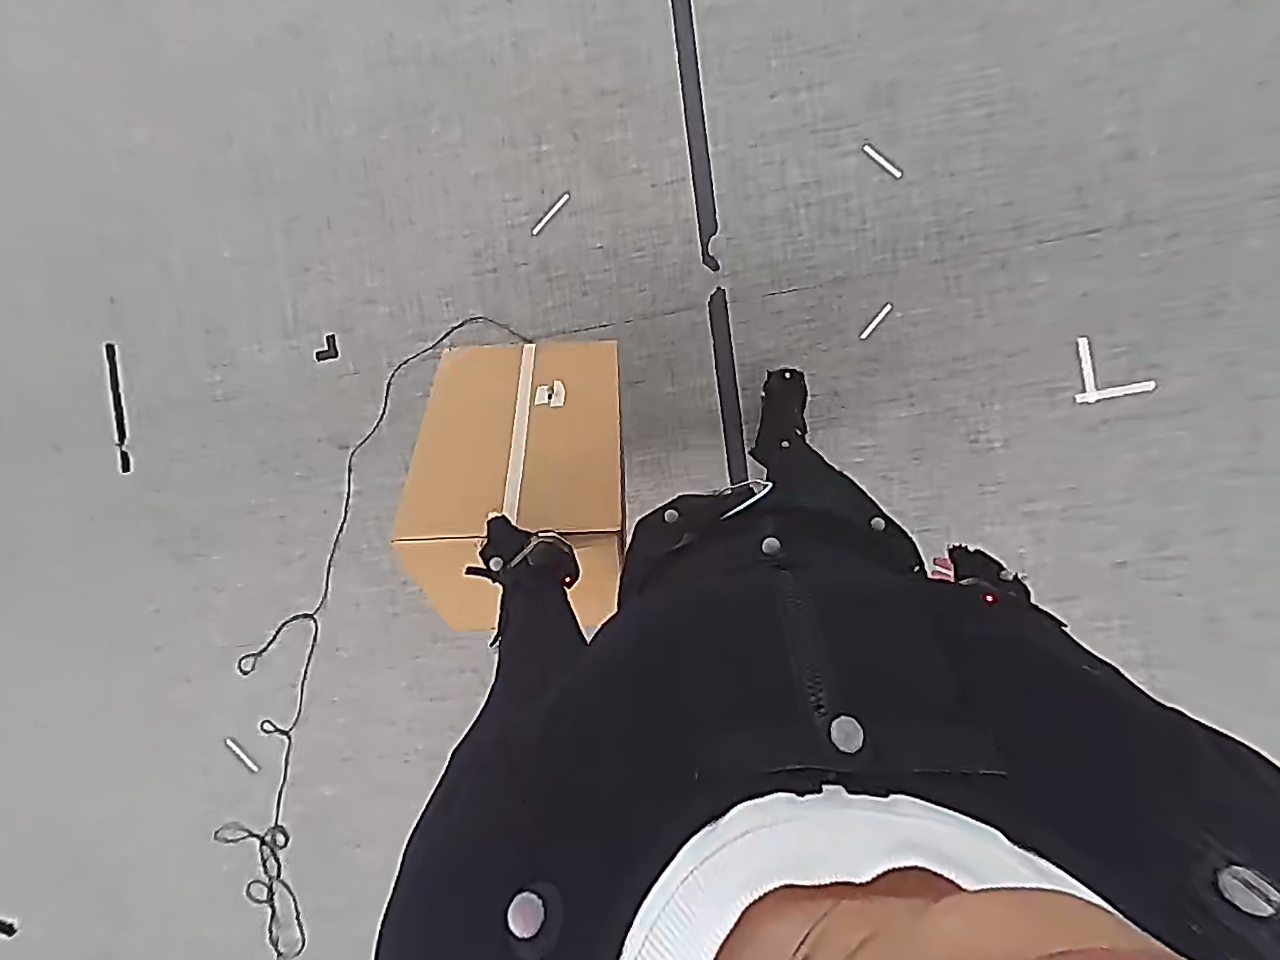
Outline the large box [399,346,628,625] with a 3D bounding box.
[{"bbox_3d":[-0.187,0.010,0.981,0.320,0.320,0.408,-2,52,-1],"label":"large box"}]
